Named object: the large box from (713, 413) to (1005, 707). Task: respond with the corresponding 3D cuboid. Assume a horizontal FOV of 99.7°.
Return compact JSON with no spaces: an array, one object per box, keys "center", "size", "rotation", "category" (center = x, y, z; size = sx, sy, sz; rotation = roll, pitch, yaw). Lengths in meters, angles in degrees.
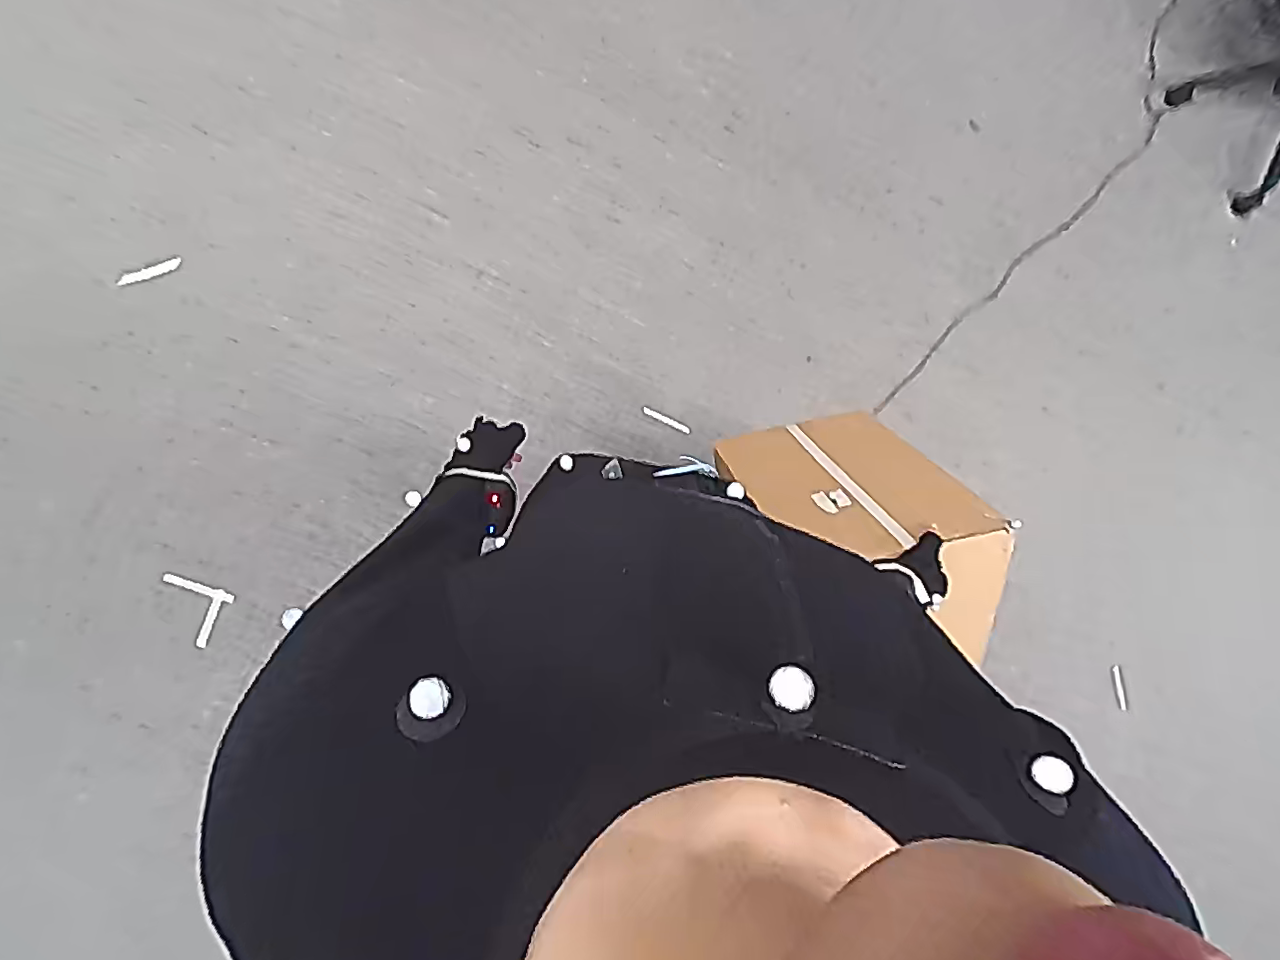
[{"center":[0.344,0.121,0.982],"size":[0.320,0.408,0.320],"rotation":[-13,122,-4],"category":"large box"}]
